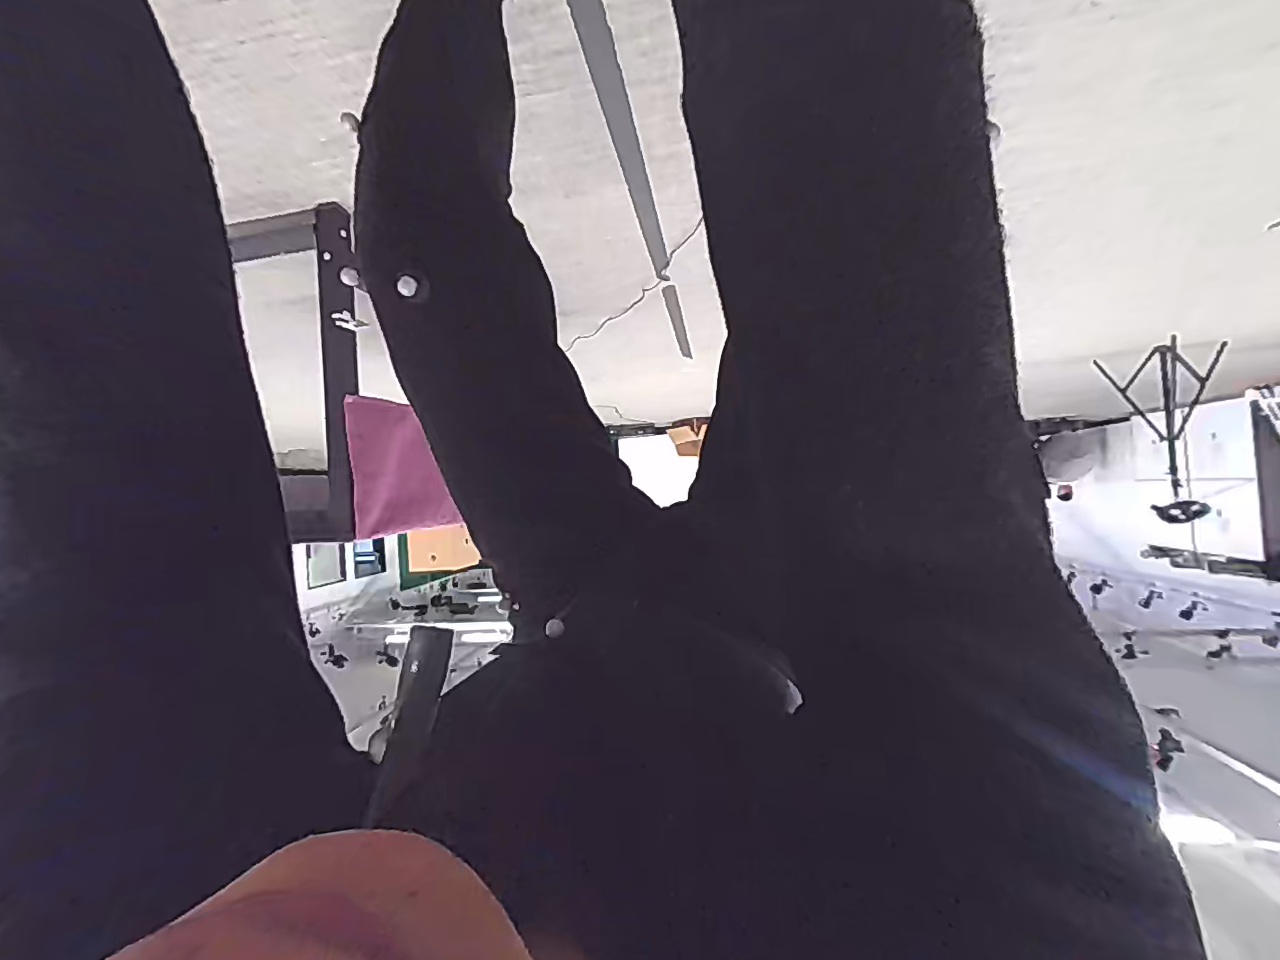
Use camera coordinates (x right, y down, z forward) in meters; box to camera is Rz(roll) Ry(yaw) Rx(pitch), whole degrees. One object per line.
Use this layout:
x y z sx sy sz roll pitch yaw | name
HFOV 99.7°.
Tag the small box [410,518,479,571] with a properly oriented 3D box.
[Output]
-0.695 0.222 1.921 0.179 0.176 0.168 -4 178 11 | small box
